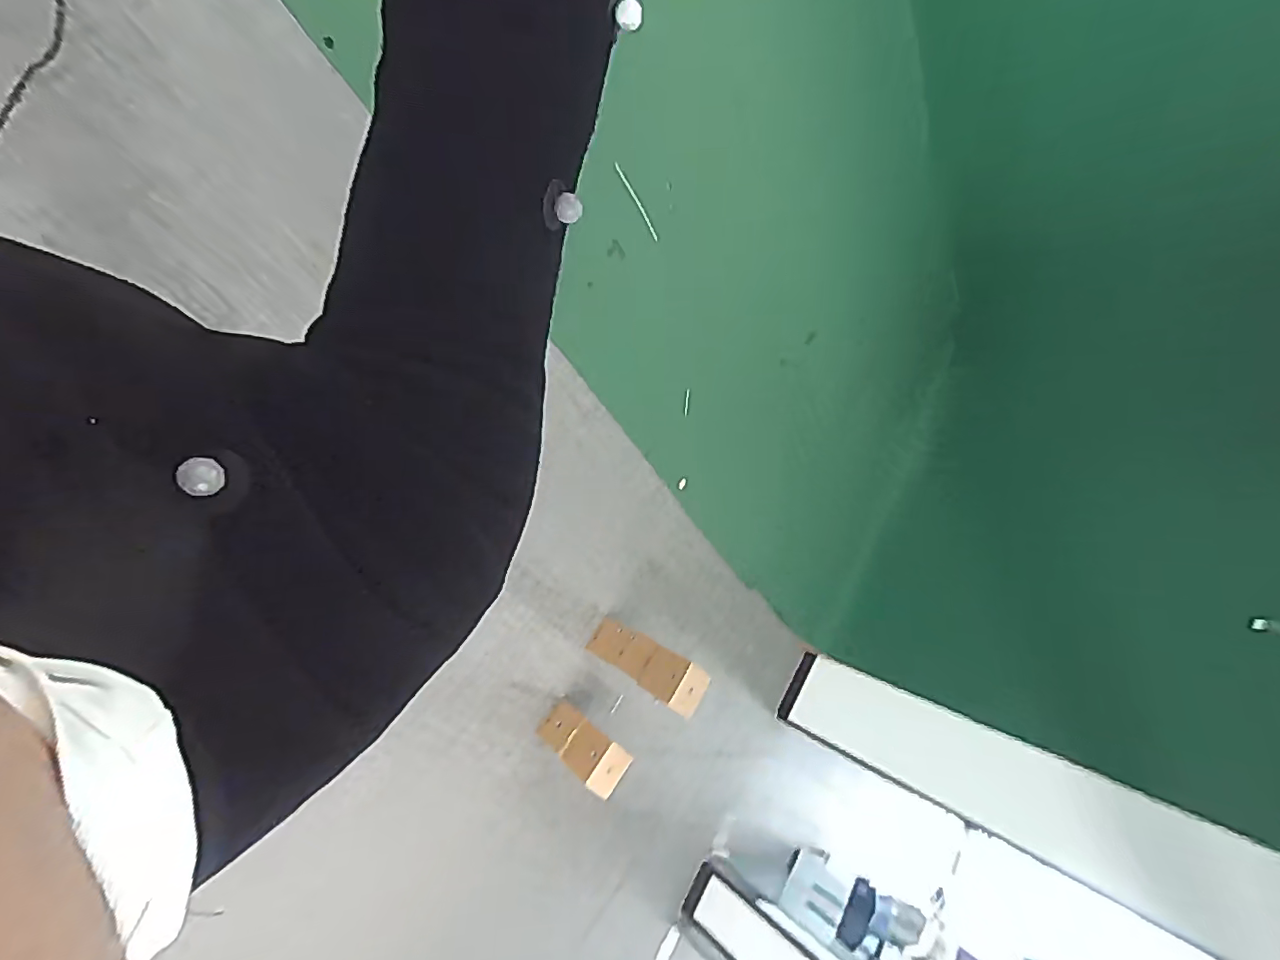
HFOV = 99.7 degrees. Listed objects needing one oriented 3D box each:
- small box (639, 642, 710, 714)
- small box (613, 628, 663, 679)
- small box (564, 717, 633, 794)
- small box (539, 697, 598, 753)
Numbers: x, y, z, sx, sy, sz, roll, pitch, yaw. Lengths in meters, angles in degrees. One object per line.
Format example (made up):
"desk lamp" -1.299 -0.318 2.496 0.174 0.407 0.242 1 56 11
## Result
"small box" 0.127 0.738 2.034 0.179 0.176 0.168 -56 131 -18
"small box" 0.024 0.712 2.160 0.168 0.176 0.179 -57 132 -17
"small box" -0.166 1.044 2.057 0.179 0.176 0.168 -52 130 -23
"small box" -0.275 1.005 2.172 0.168 0.176 0.179 -49 127 -23
